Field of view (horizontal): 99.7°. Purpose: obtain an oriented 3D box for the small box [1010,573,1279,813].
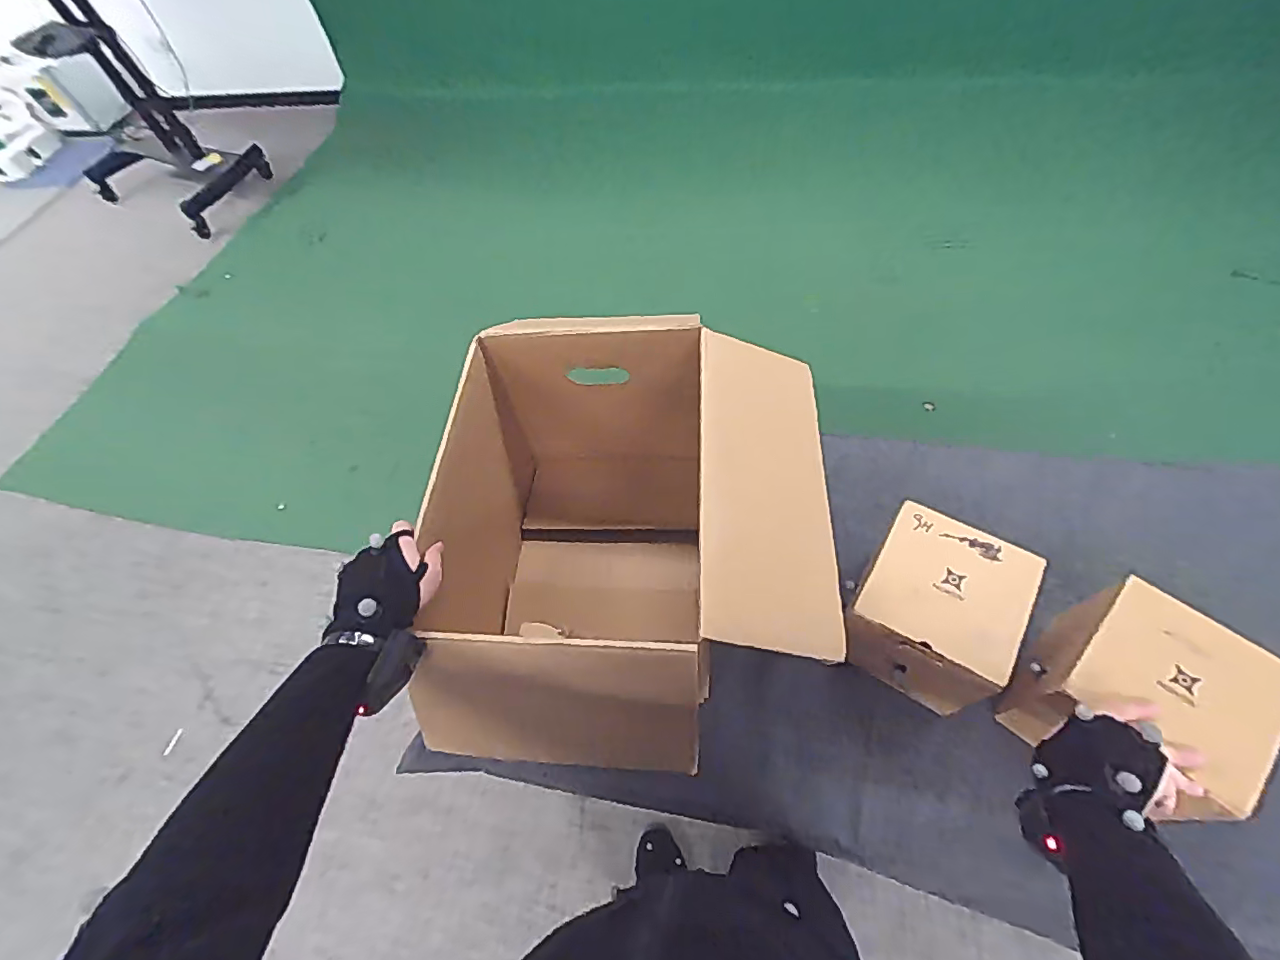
[{"bbox_3d":[0.567,0.246,0.618,0.168,0.176,0.179,37,69,25],"label":"small box"}]
